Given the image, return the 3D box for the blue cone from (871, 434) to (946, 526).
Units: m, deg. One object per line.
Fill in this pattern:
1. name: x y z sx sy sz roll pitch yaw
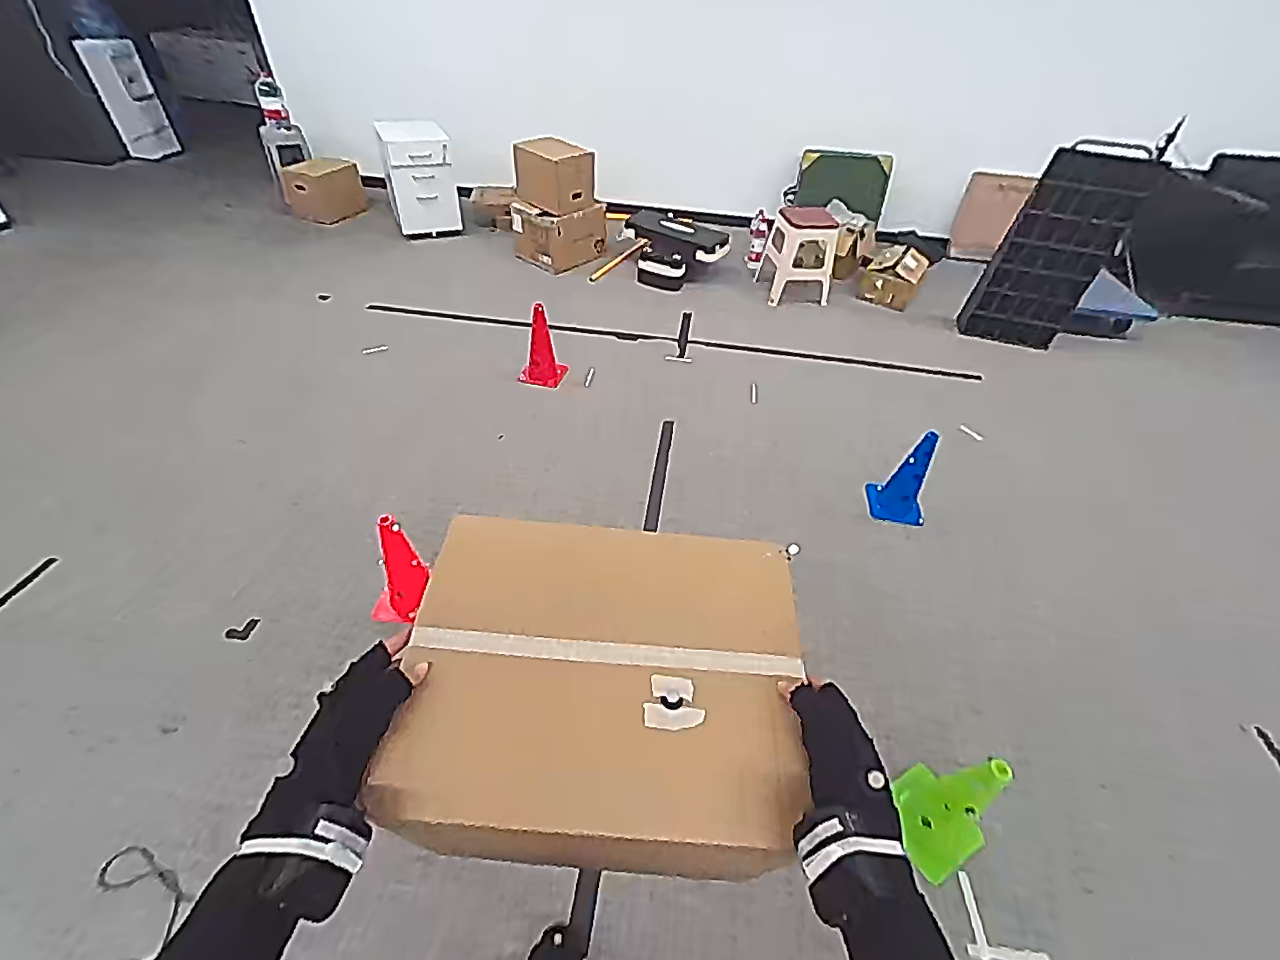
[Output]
1. blue cone: 1.025 -0.018 2.016 0.192 0.380 0.193 11 44 5

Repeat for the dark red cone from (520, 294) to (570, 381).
1. dark red cone: -0.442 -0.662 2.489 0.201 0.394 0.202 13 45 7

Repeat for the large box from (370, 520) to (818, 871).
1. large box: -0.044 0.277 0.679 0.408 0.320 0.320 6 50 -1

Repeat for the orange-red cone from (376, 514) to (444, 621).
1. orange-red cone: -0.692 0.230 1.577 0.198 0.360 0.199 6 45 2

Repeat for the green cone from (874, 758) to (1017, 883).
1. green cone: 0.720 0.712 1.206 0.202 0.368 0.200 -18 49 -24
